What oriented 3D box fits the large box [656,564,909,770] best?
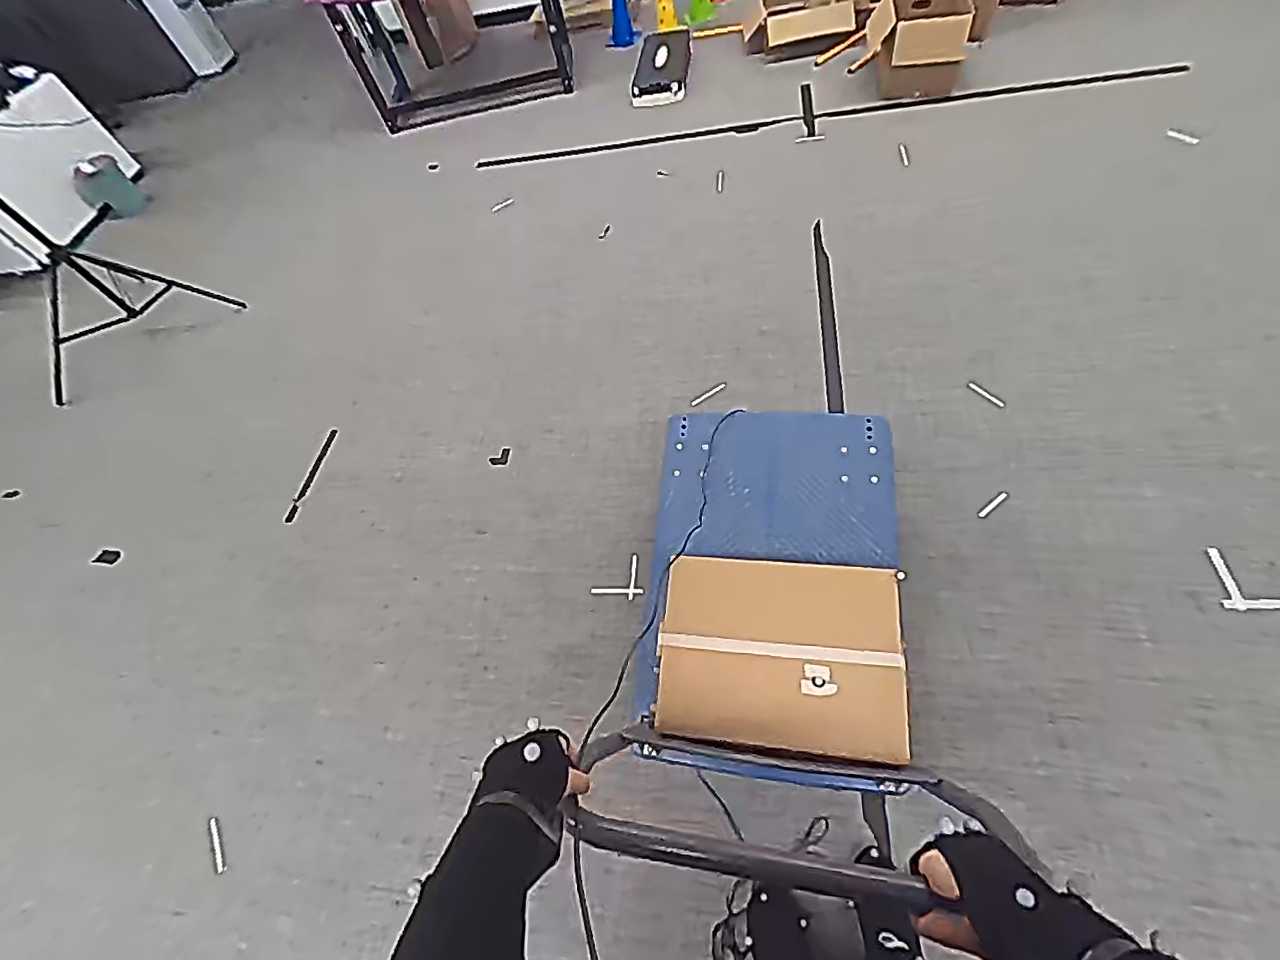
[{"bbox_3d":[0.258,0.363,1.057,0.408,0.320,0.320,2,67,12],"label":"large box"}]
